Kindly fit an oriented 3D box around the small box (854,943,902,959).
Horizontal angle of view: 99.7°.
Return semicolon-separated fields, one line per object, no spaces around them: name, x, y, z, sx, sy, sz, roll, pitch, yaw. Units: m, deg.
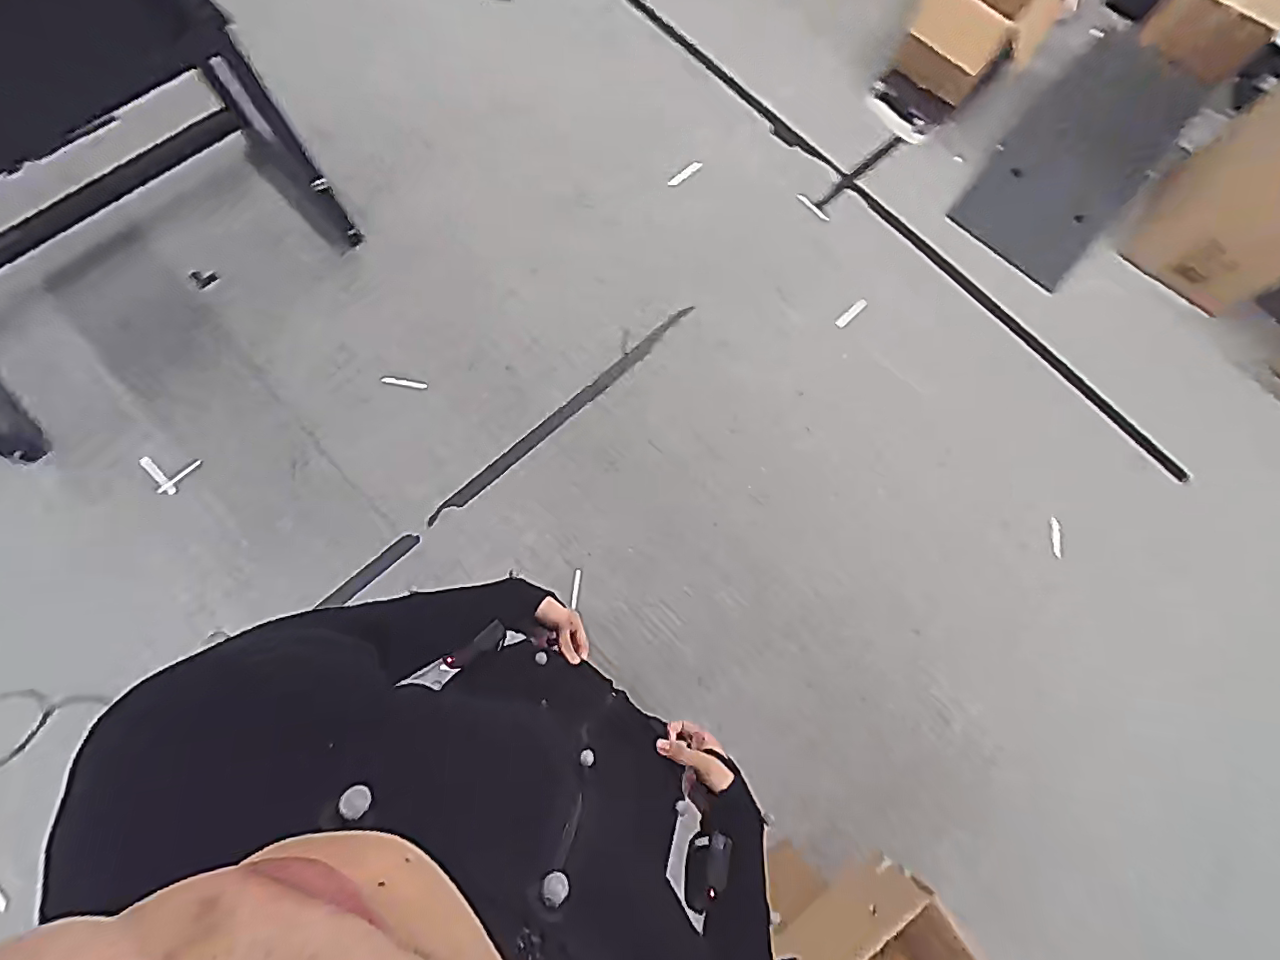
small box;0.475;1.026;1.009;0.168;0.176;0.179;-30;83;-9
